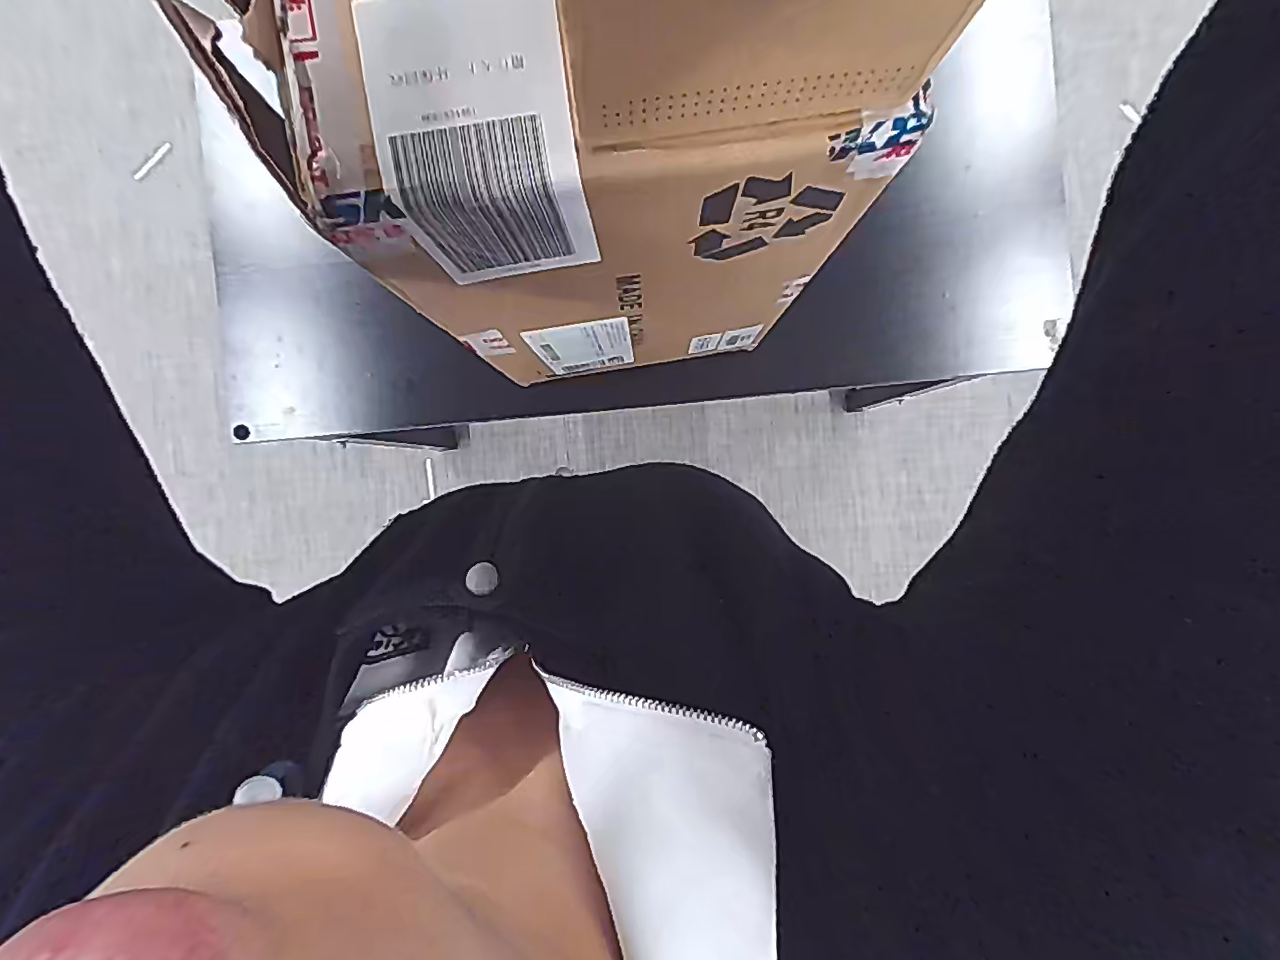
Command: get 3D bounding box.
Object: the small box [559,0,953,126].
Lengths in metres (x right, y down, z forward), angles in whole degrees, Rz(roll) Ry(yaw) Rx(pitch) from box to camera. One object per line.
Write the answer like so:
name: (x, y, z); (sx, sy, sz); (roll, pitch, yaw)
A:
small box: (0.044, -0.267, 0.201); (0.179, 0.176, 0.168); (-8, 93, 0)
